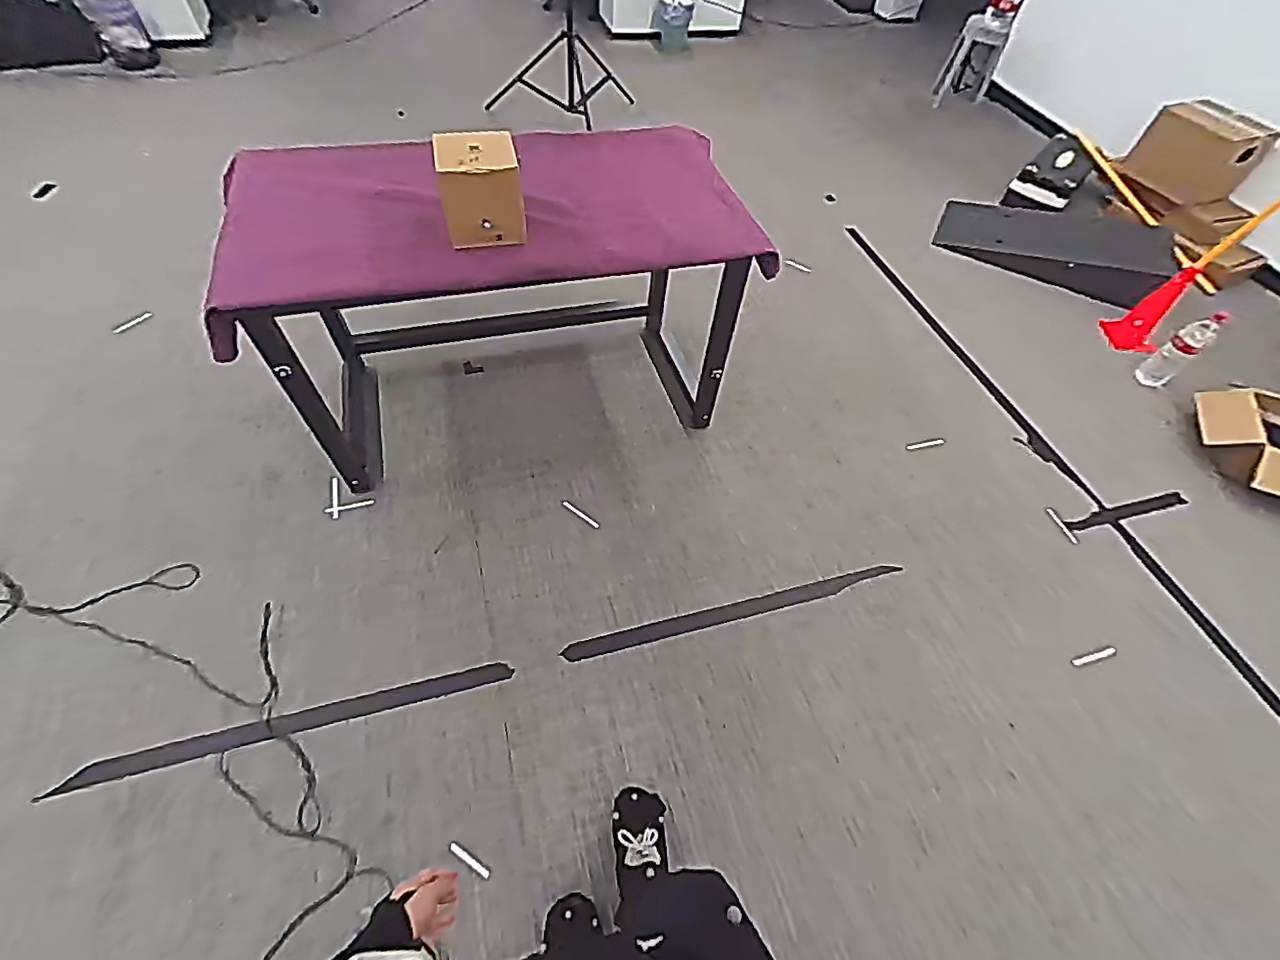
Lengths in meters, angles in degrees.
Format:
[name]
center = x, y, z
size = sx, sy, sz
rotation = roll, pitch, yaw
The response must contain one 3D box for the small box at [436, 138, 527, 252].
[small box]
center = -0.351, -0.636, 1.208
size = 0.168, 0.176, 0.179
rotation = -10, 56, -11
